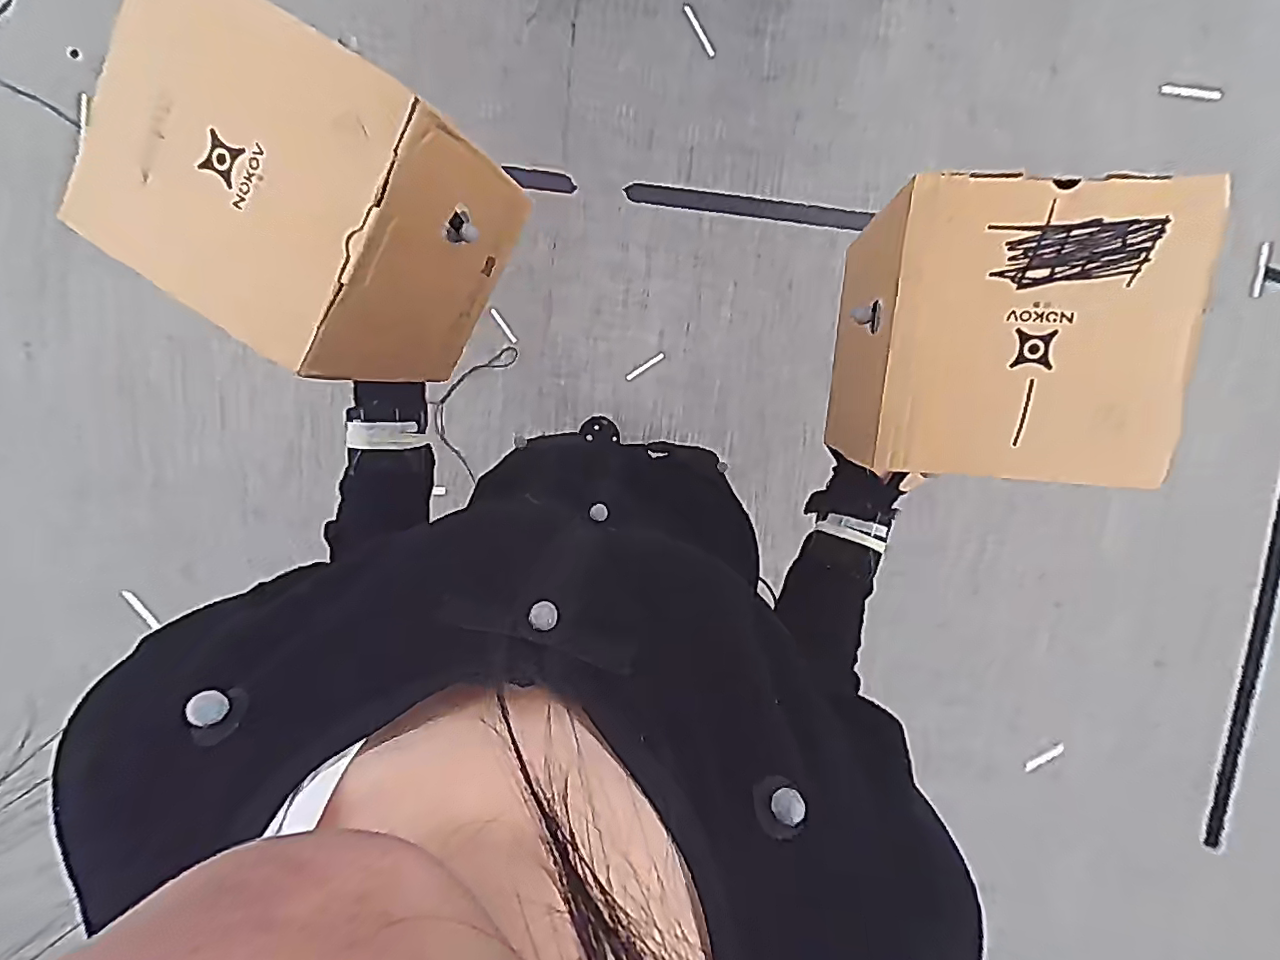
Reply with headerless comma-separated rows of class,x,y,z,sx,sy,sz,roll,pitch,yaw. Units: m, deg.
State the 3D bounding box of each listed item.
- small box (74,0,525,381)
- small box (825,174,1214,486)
small box,-0.208,-0.183,0.376,0.179,0.176,0.168,32,102,3
small box,0.243,-0.101,0.401,0.168,0.176,0.179,5,100,7
